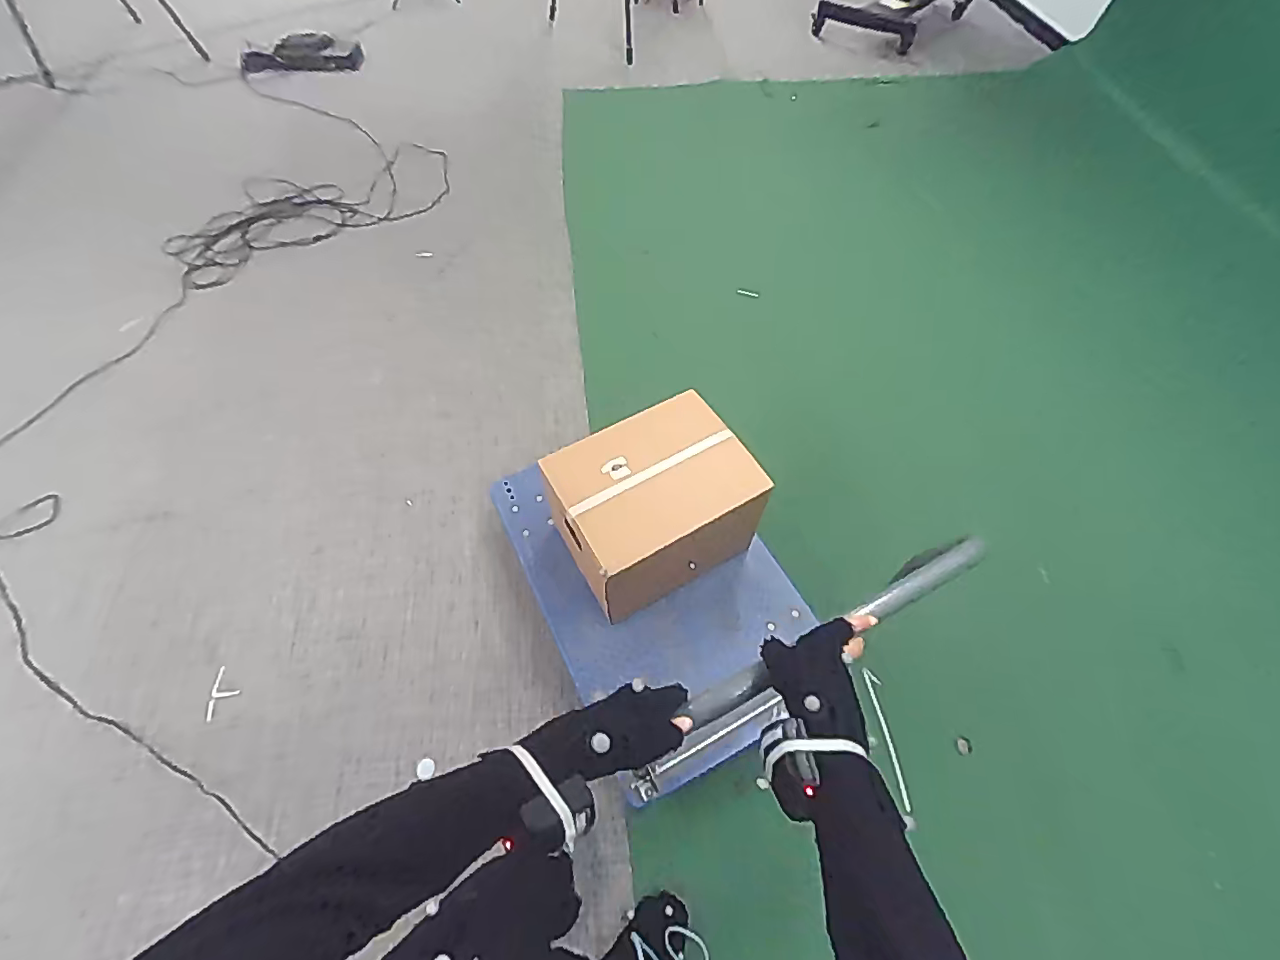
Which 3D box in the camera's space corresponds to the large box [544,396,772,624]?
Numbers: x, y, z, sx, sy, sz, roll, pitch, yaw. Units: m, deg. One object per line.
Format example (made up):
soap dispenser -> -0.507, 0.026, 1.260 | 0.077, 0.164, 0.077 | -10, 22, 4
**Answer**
large box -> 0.037, 0.074, 1.280 | 0.408, 0.320, 0.320 | -27, 62, -16
